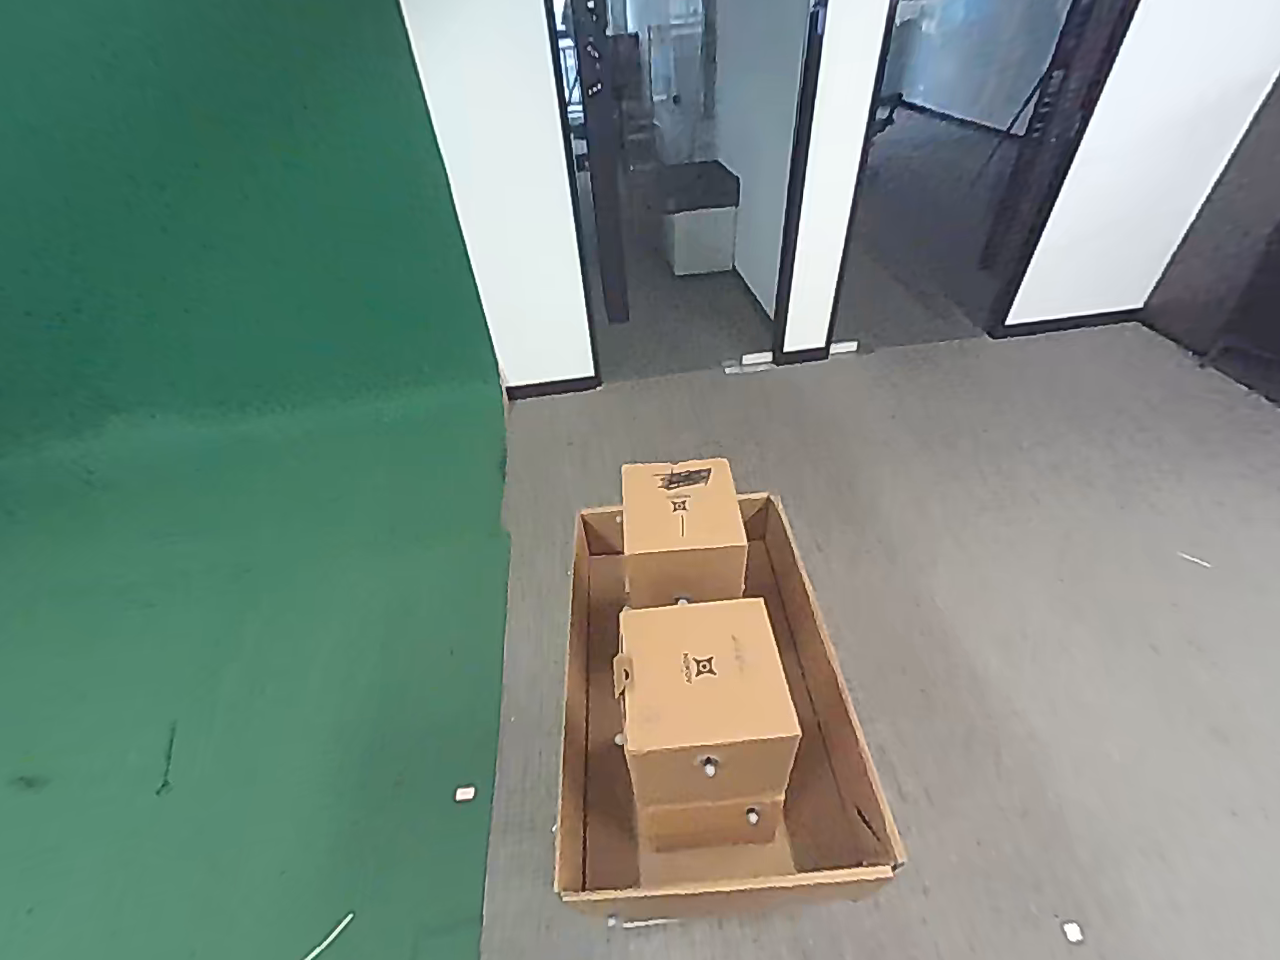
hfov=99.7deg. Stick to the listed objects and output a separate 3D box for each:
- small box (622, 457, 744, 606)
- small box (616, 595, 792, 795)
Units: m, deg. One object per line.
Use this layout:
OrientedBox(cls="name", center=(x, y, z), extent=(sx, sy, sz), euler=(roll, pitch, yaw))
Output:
OrientedBox(cls="small box", center=(0.058, 0.085, 0.835), extent=(0.168, 0.176, 0.179), euler=(-3, 46, 1))
OrientedBox(cls="small box", center=(0.068, 0.261, 0.652), extent=(0.179, 0.176, 0.168), euler=(-5, 43, -1))
